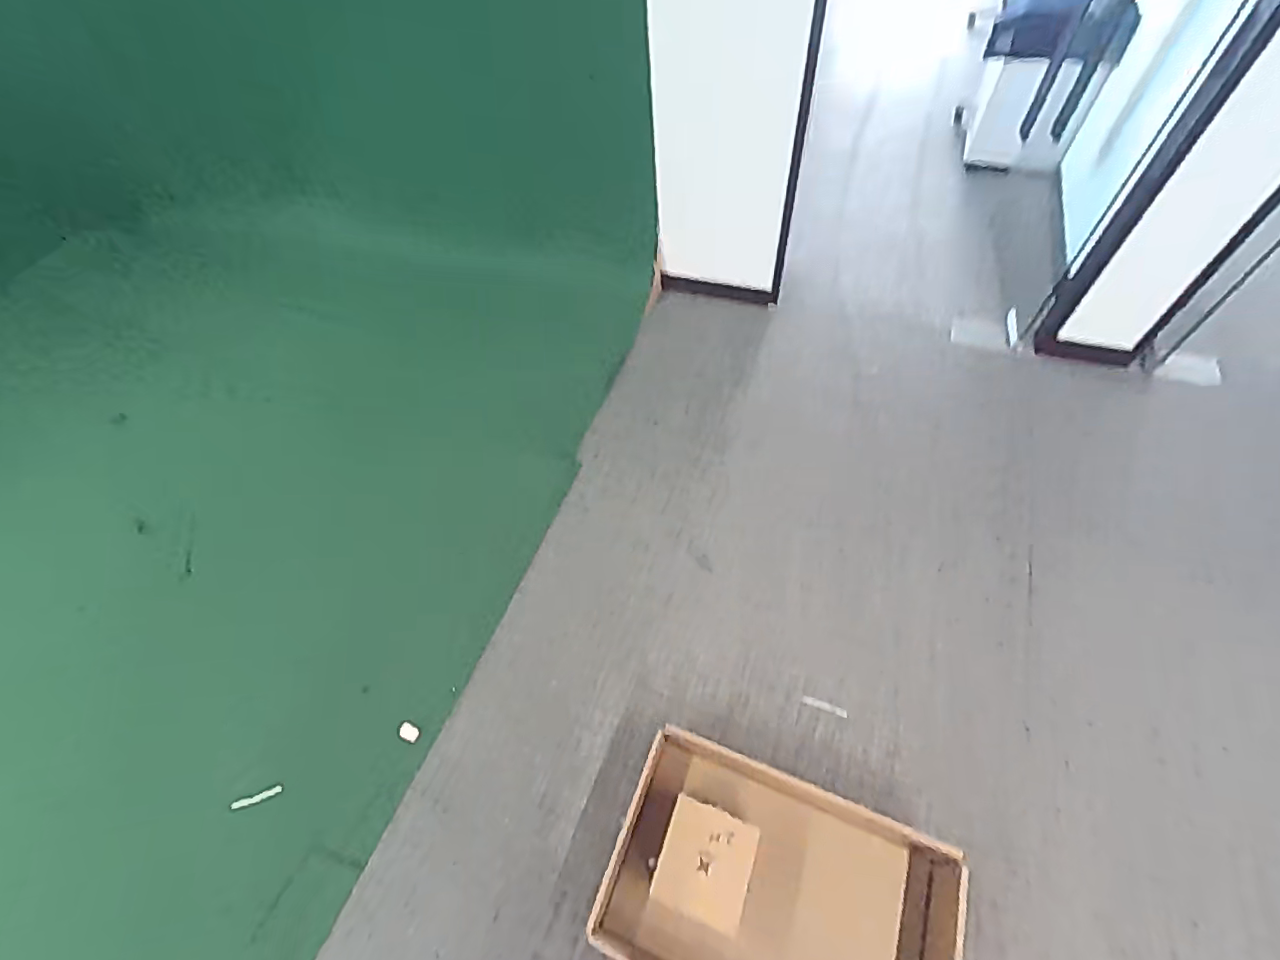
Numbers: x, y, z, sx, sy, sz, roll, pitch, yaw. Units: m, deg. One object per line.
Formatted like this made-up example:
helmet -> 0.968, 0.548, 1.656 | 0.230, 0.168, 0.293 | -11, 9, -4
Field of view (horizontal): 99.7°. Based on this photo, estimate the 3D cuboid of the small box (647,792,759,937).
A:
small box -> 0.125, 0.747, 1.063 | 0.168, 0.176, 0.179 | 17, 59, 15
